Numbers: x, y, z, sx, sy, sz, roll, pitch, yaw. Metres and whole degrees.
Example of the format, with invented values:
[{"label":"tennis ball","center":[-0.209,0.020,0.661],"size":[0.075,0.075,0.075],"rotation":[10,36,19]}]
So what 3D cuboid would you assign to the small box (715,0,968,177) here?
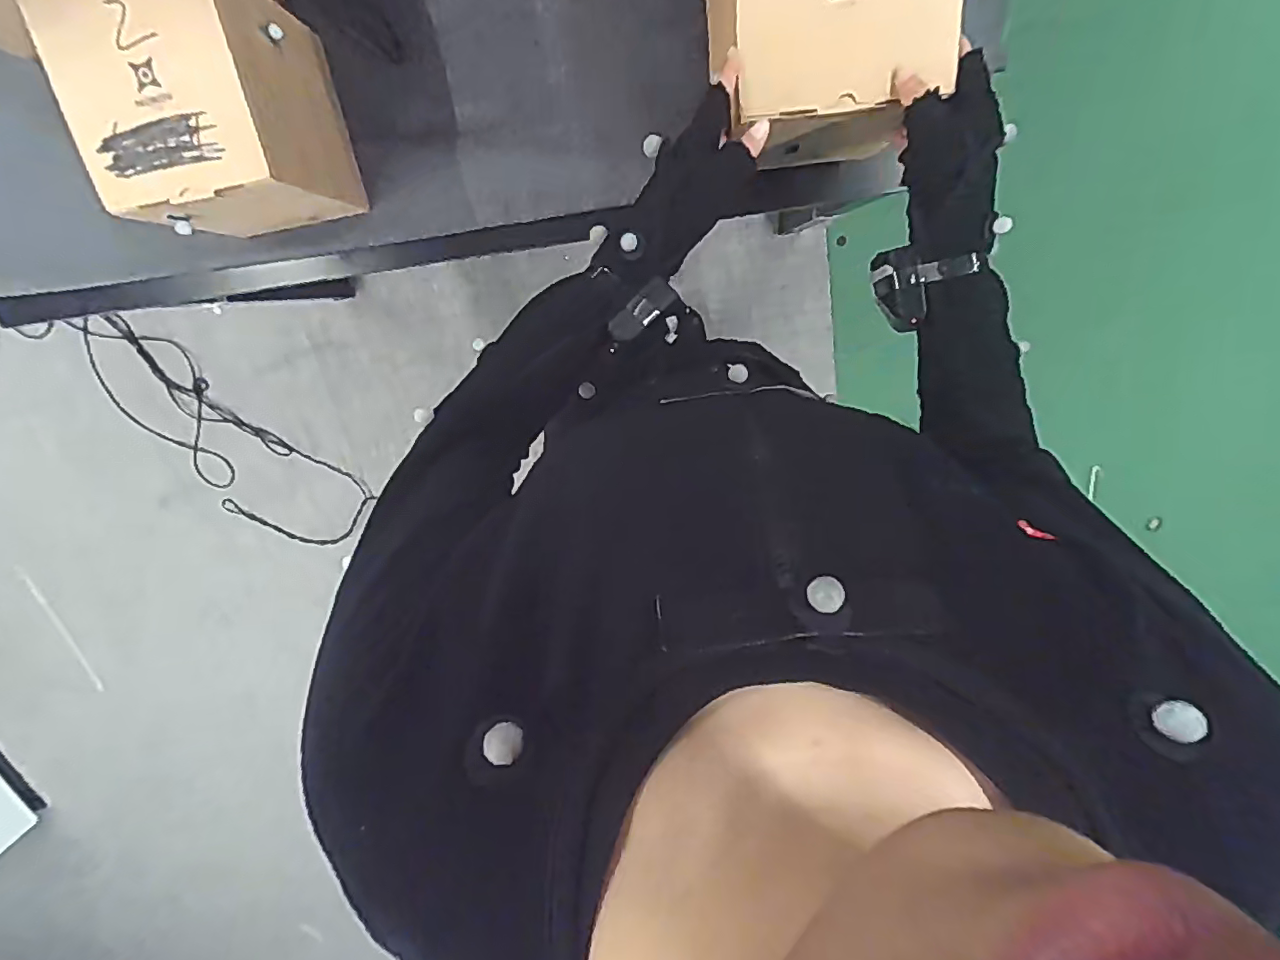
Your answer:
[{"label":"small box","center":[0.157,-0.386,0.469],"size":[0.168,0.176,0.179],"rotation":[-4,108,3]}]
